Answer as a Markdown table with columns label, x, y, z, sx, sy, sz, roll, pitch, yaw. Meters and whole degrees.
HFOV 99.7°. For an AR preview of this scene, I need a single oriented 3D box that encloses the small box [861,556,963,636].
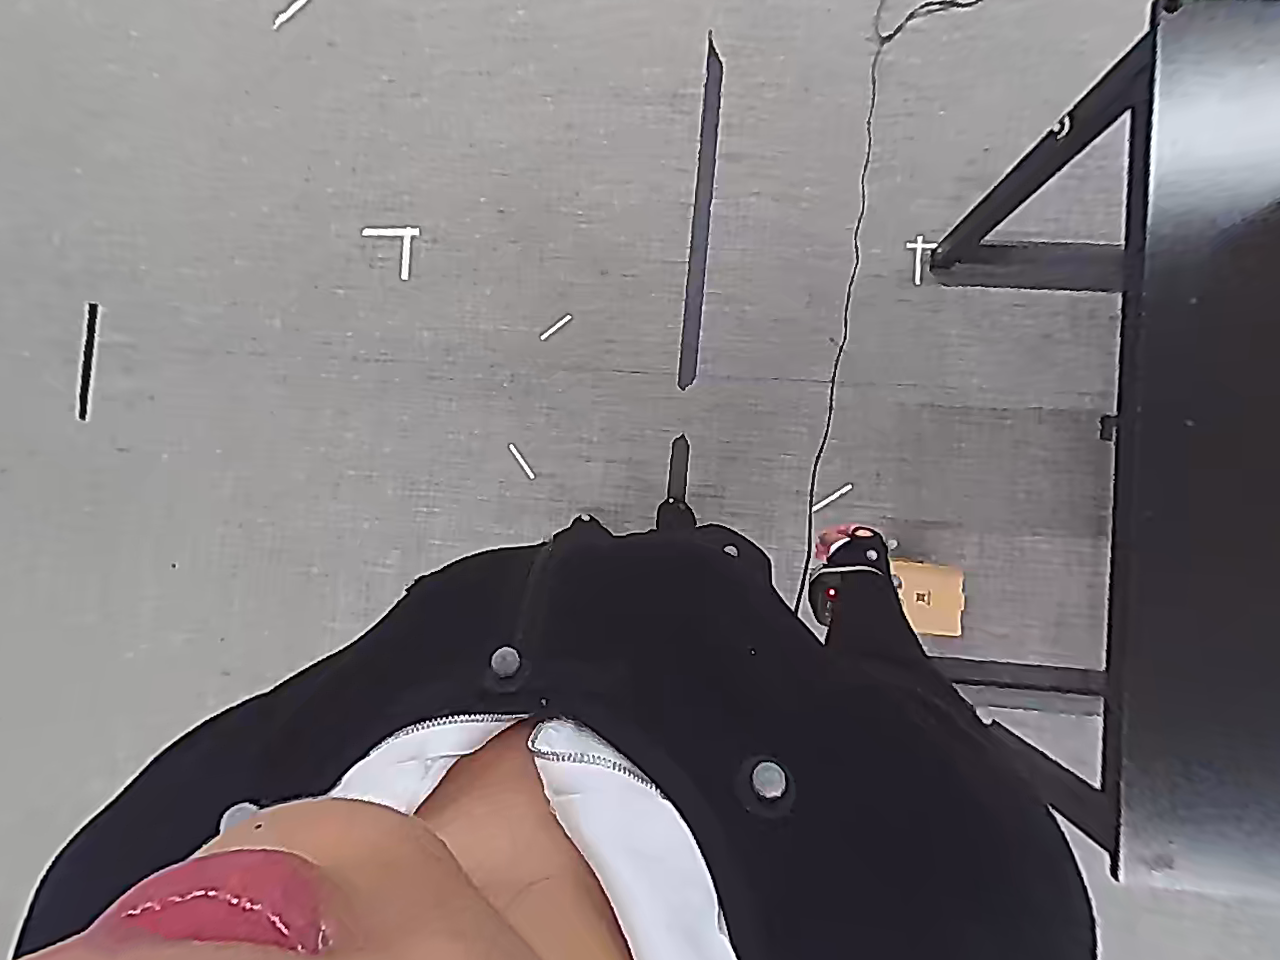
| label | x | y | z | sx | sy | sz | roll | pitch | yaw |
| --- | --- | --- | --- | --- | --- | --- | --- | --- | --- |
| small box | 0.676 | 0.284 | 1.358 | 0.179 | 0.176 | 0.168 | 4 | 86 | 4 |
